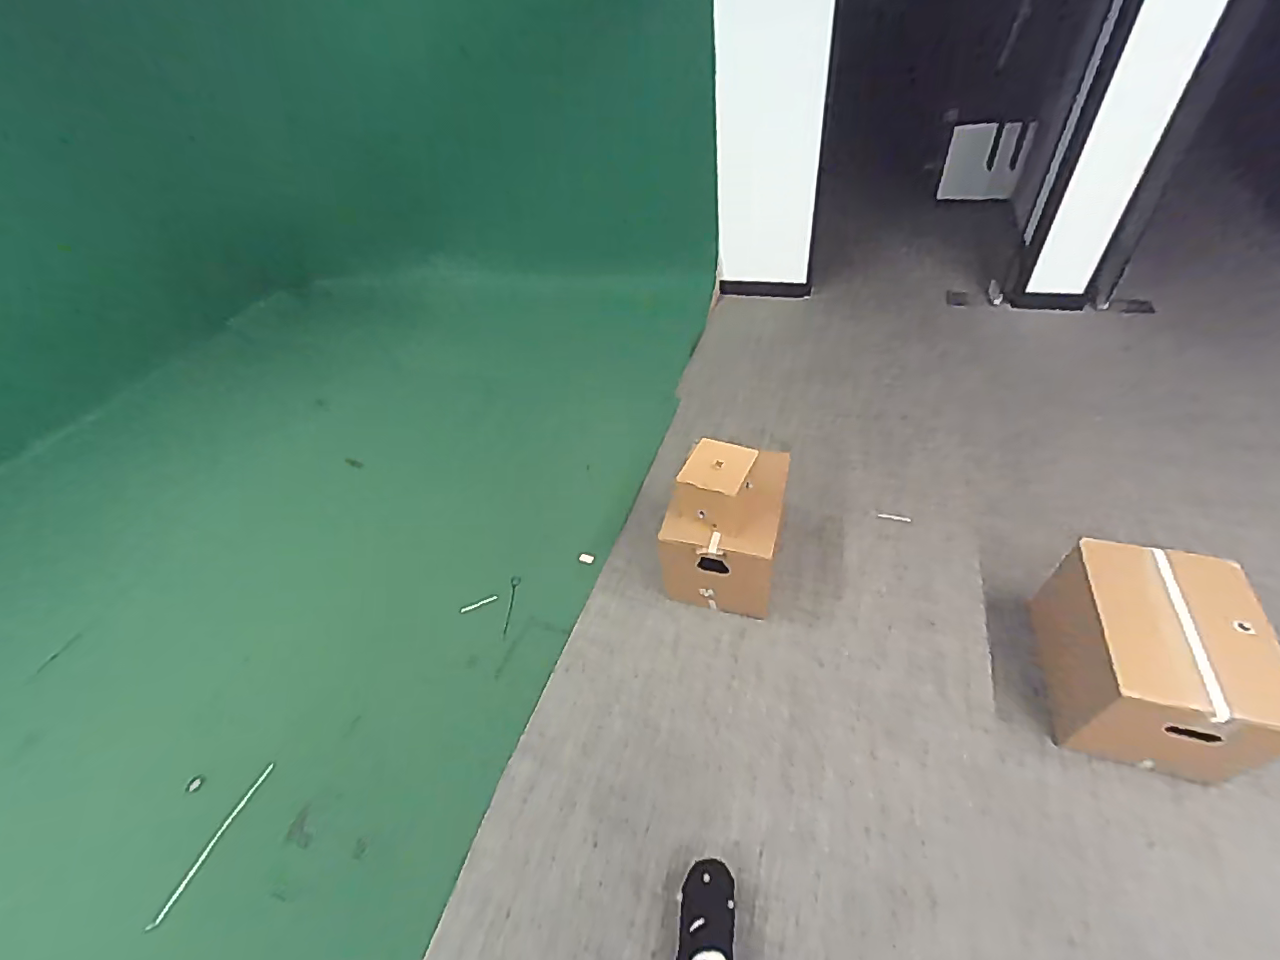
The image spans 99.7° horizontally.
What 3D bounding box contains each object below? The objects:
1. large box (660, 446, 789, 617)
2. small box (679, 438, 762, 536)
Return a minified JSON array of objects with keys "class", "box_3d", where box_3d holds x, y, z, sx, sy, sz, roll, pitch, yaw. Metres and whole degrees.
[{"class":"large box","box_3d":[0.274,0.152,1.669,0.320,0.320,0.408,9,48,18]},{"class":"small box","box_3d":[0.220,0.019,1.465,0.168,0.176,0.179,17,52,26]}]
